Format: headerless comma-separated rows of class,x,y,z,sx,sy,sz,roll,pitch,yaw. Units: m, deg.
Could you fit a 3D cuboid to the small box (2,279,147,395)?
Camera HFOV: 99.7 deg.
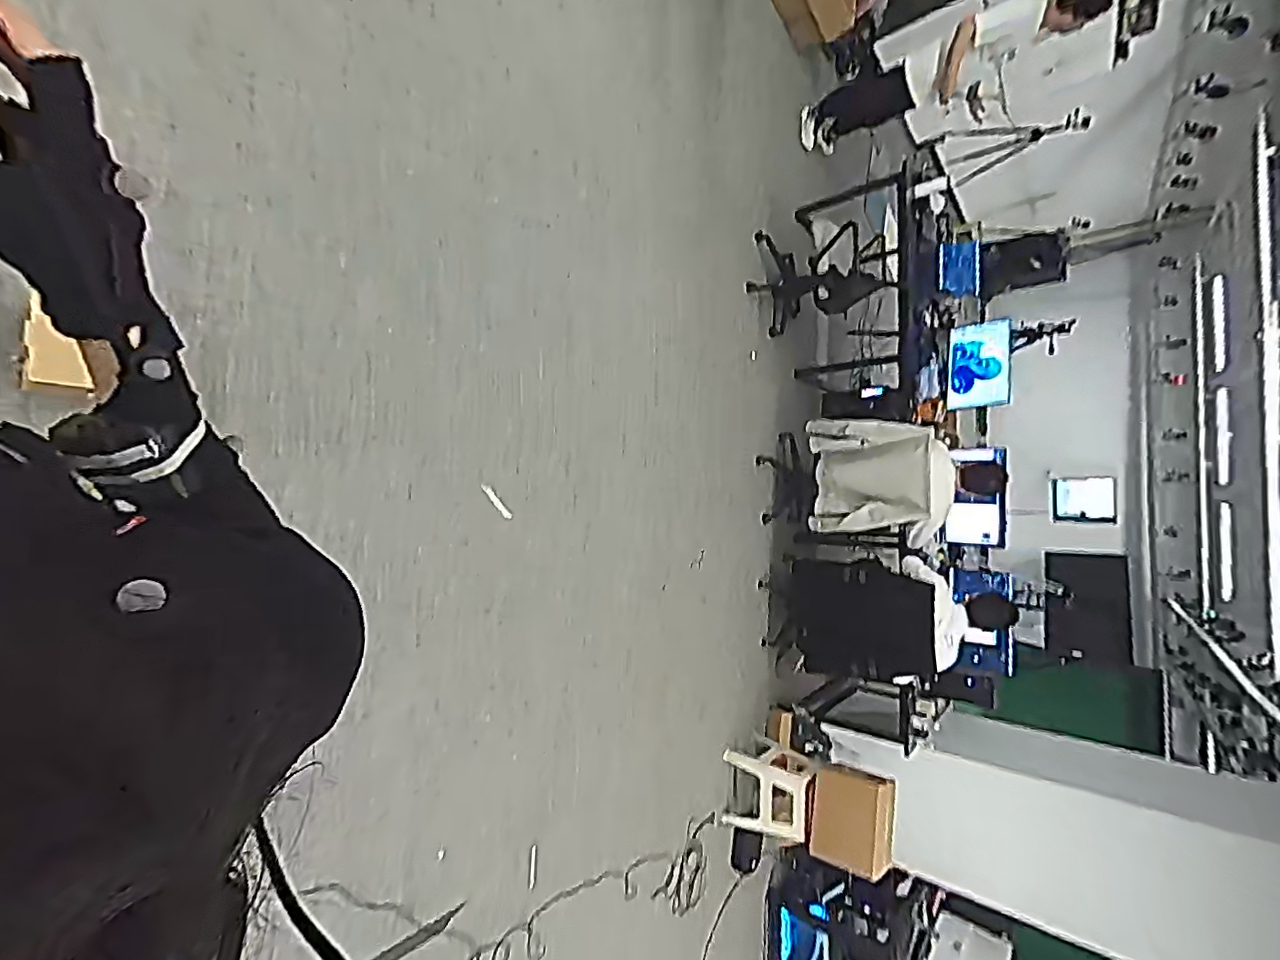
small box,-1.081,-0.260,1.033,0.179,0.176,0.168,3,89,-52
